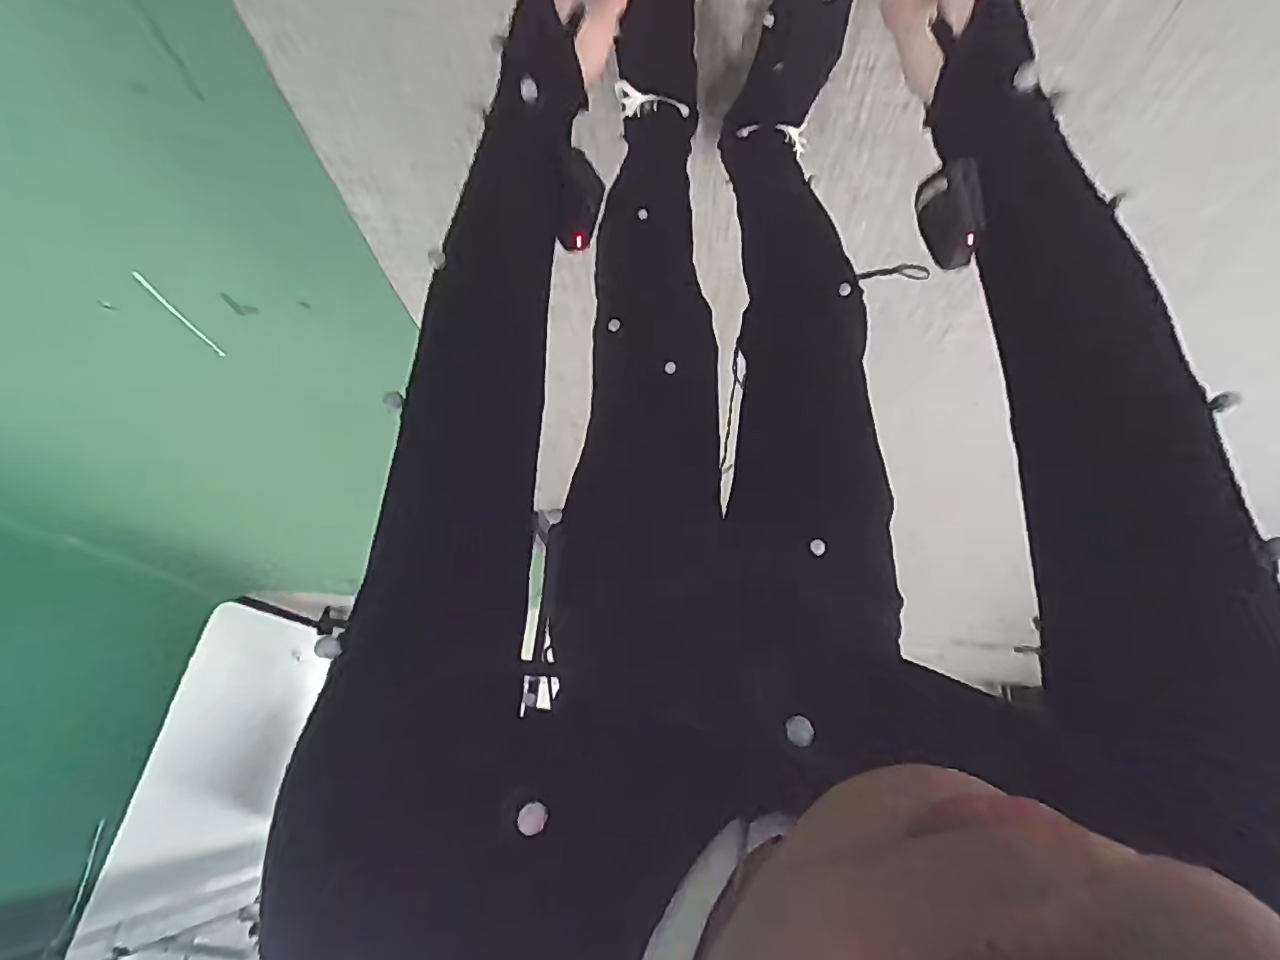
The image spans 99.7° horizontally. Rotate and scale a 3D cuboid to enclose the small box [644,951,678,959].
[{"bbox_3d":[0.089,1.776,1.879,0.168,0.176,0.179,3,155,3],"label":"small box"}]
